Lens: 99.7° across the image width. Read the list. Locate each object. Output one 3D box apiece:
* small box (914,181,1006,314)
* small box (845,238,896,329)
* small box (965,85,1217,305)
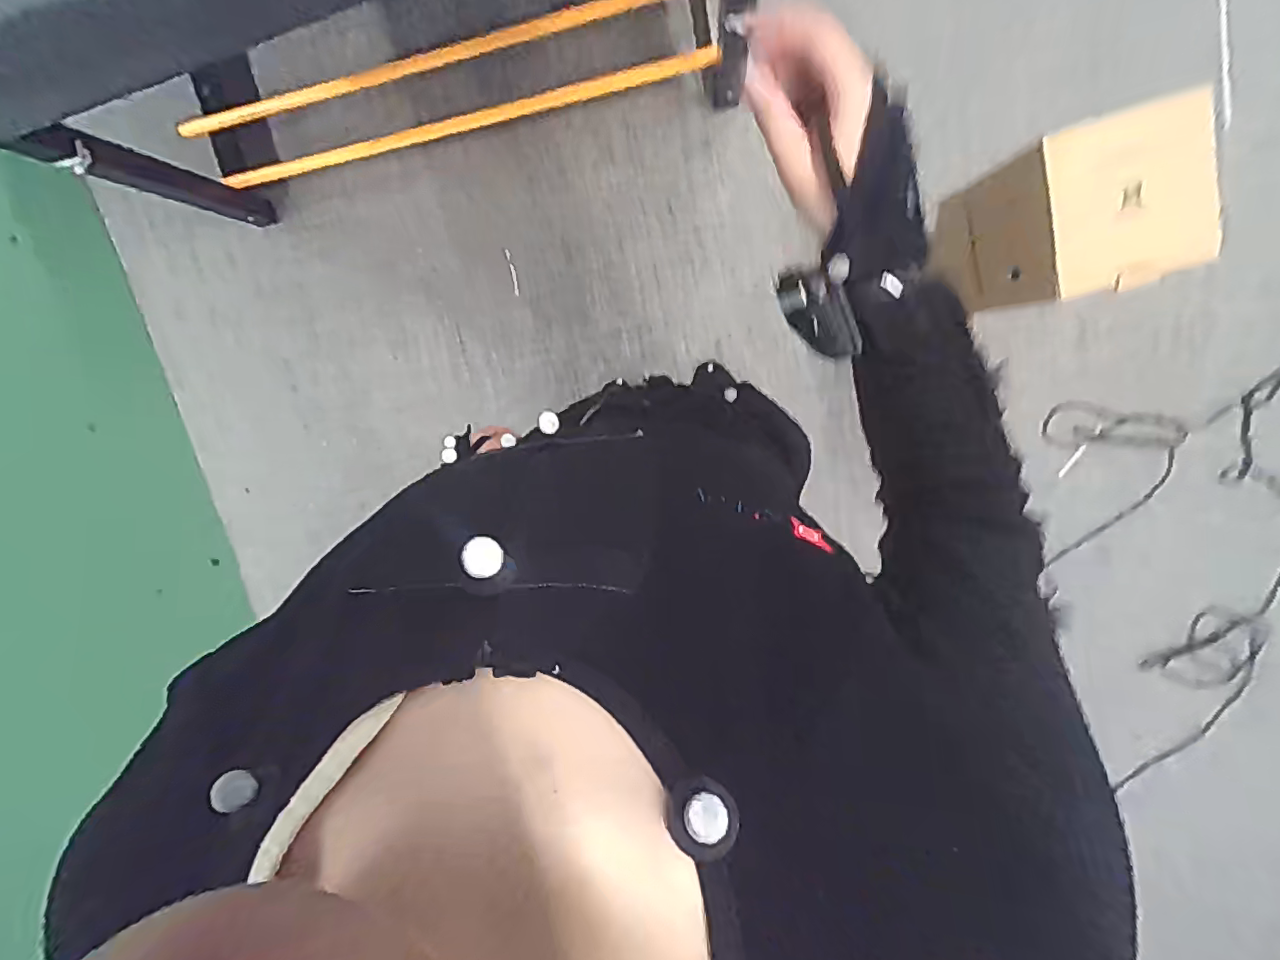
[{"bbox_3d":[0.540,-0.358,0.814,0.168,0.176,0.179,-15,101,8],"label":"small box"},{"bbox_3d":[0.555,-0.426,1.134,0.179,0.176,0.168,-16,100,9],"label":"small box"},{"bbox_3d":[0.528,-0.321,0.656,0.168,0.176,0.179,-15,100,8],"label":"small box"}]
